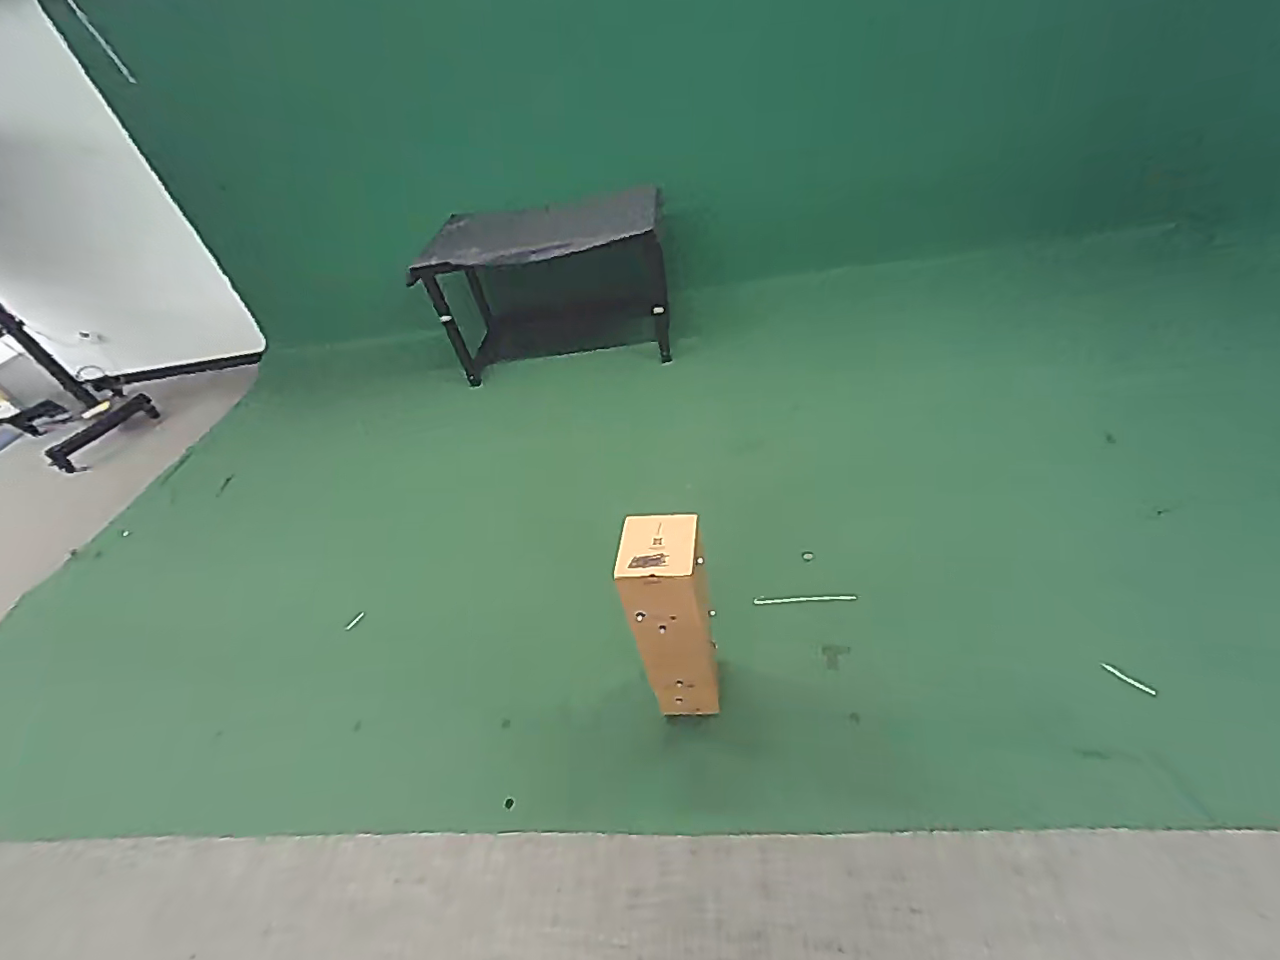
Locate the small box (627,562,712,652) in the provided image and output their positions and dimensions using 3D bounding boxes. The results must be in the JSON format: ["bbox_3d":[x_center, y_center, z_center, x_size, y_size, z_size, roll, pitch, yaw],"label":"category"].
[{"bbox_3d":[0.078,0.306,1.318,0.179,0.176,0.168,-3,43,12],"label":"small box"}]

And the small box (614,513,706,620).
[{"bbox_3d":[0.053,0.194,1.201,0.168,0.176,0.179,-2,42,13],"label":"small box"}]

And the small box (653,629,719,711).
[{"bbox_3d":[0.134,0.542,1.540,0.168,0.176,0.179,-5,41,10],"label":"small box"}]
